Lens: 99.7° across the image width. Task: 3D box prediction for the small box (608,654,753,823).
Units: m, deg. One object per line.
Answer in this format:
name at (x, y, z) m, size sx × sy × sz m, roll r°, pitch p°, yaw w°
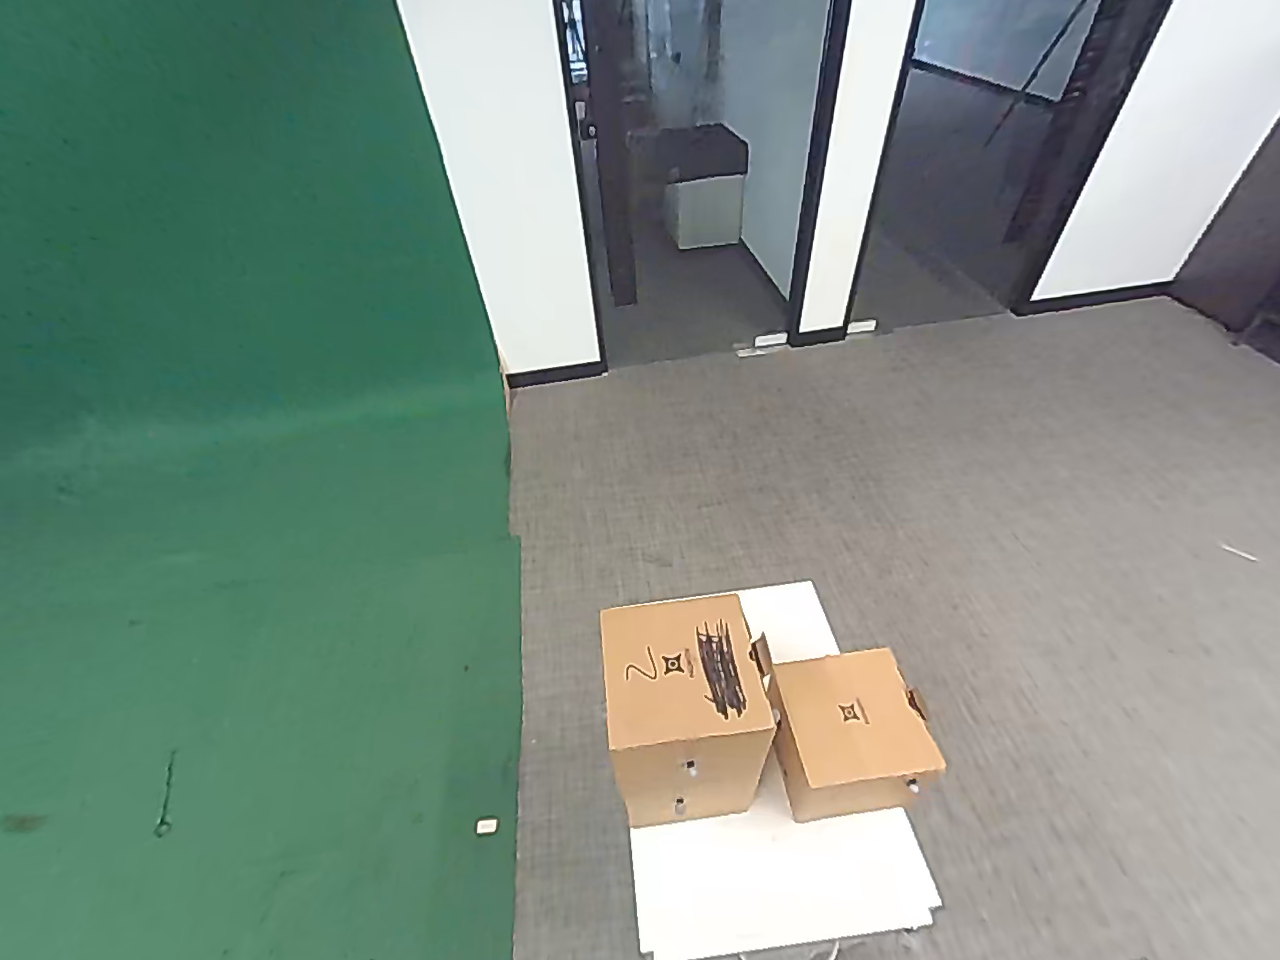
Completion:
small box at (0.053, 0.376, 0.783) m, size 0.179 × 0.176 × 0.168 m, roll -7°, pitch 46°, yaw -3°
